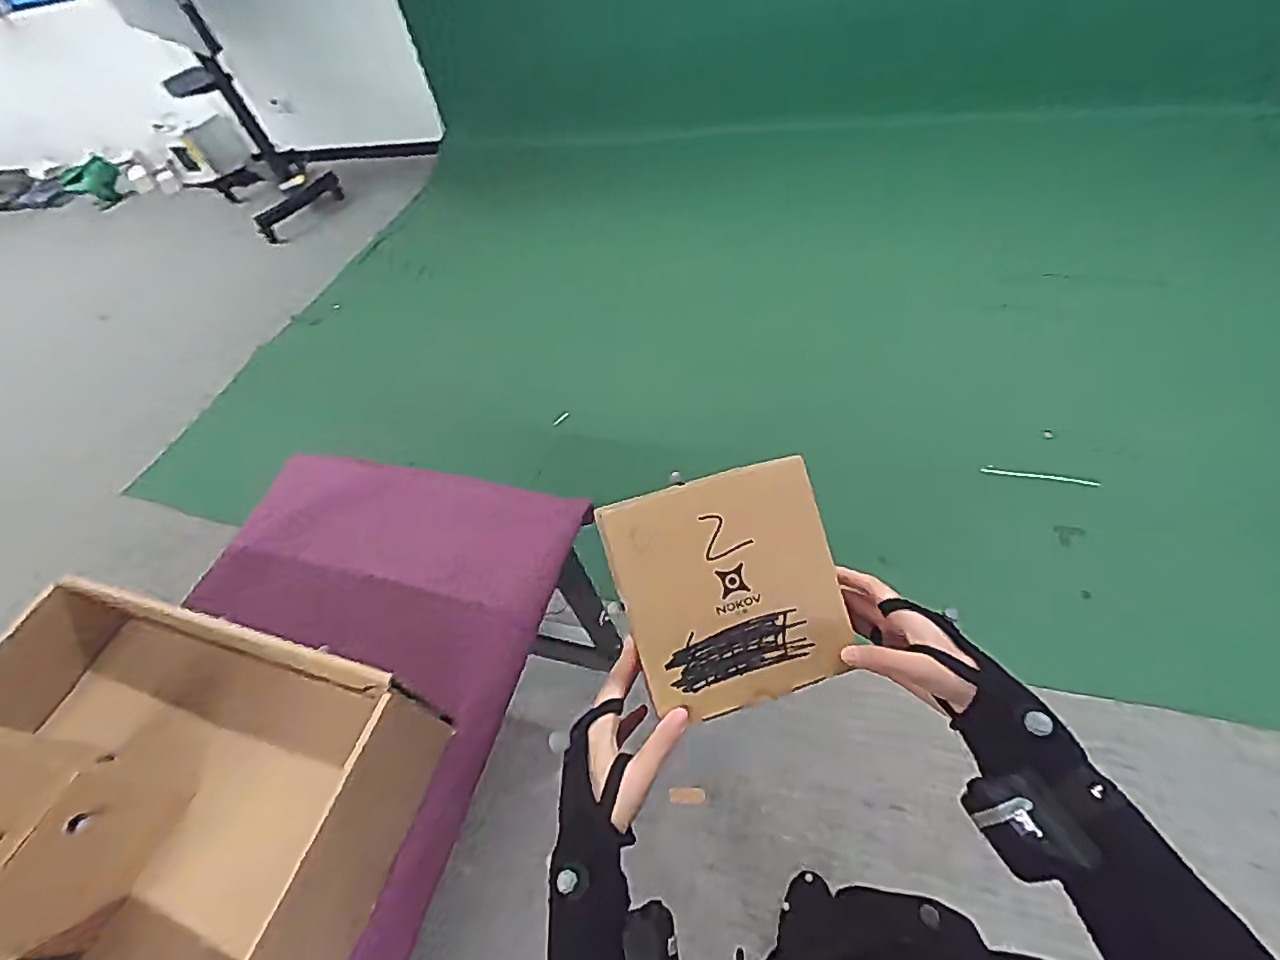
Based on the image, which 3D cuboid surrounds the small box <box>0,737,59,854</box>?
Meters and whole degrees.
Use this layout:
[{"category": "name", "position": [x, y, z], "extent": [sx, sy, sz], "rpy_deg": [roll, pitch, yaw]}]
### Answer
[{"category": "small box", "position": [-0.729, 0.320, 0.500], "extent": [0.179, 0.176, 0.168], "rpy_deg": [11, 57, 17]}]
